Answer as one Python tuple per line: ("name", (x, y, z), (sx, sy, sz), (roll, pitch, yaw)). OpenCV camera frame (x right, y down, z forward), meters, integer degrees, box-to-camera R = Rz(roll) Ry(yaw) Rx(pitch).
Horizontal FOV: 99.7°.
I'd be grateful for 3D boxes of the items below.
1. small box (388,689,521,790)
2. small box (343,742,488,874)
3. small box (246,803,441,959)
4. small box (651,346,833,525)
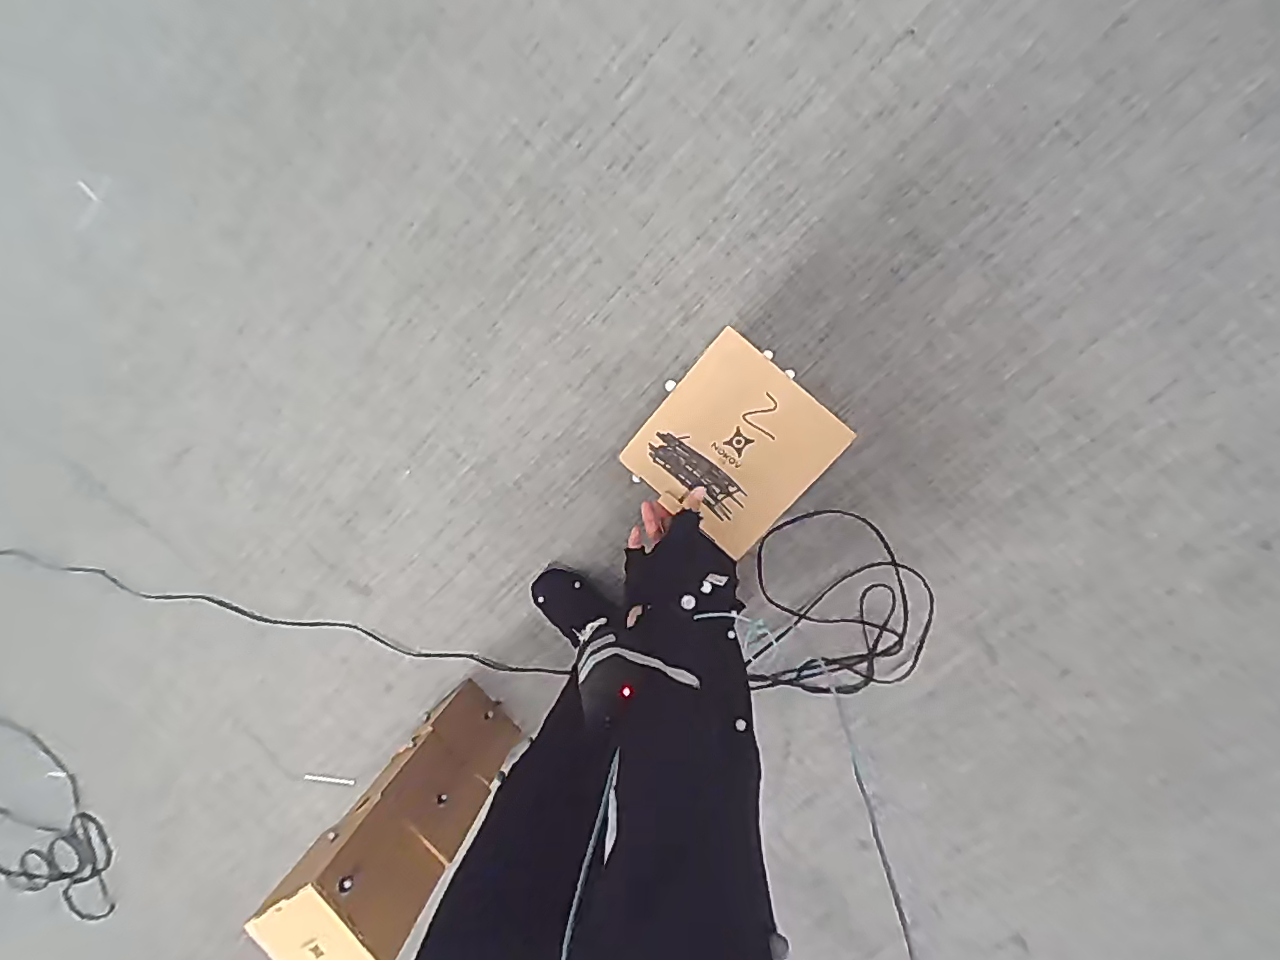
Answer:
("small box", (-0.397, 0.589, 1.179), (0.179, 0.176, 0.168), (45, 109, 0))
("small box", (-0.425, 0.631, 1.020), (0.168, 0.176, 0.179), (-41, 94, 16))
("small box", (-0.459, 0.670, 0.866), (0.168, 0.176, 0.179), (-36, 94, 15))
("small box", (0.140, -0.068, 0.771), (0.179, 0.176, 0.168), (44, 105, -1))
